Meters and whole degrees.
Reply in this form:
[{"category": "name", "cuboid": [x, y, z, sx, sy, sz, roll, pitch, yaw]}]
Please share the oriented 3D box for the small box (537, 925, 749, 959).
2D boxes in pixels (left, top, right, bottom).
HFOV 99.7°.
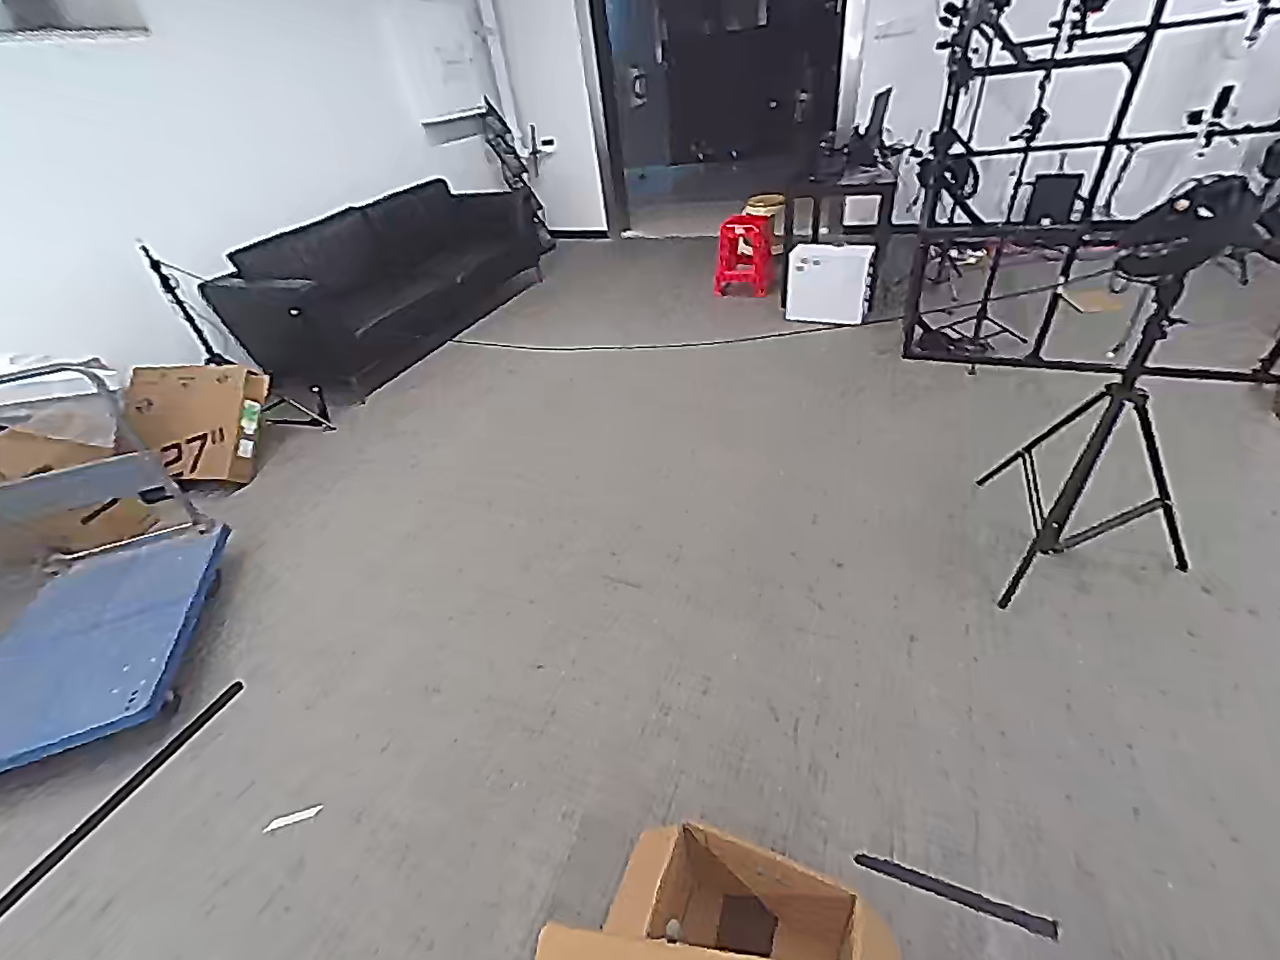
[{"category": "small box", "cuboid": [0.008, 0.449, 0.399, 0.179, 0.176, 0.168, 3, 49, 8]}]
